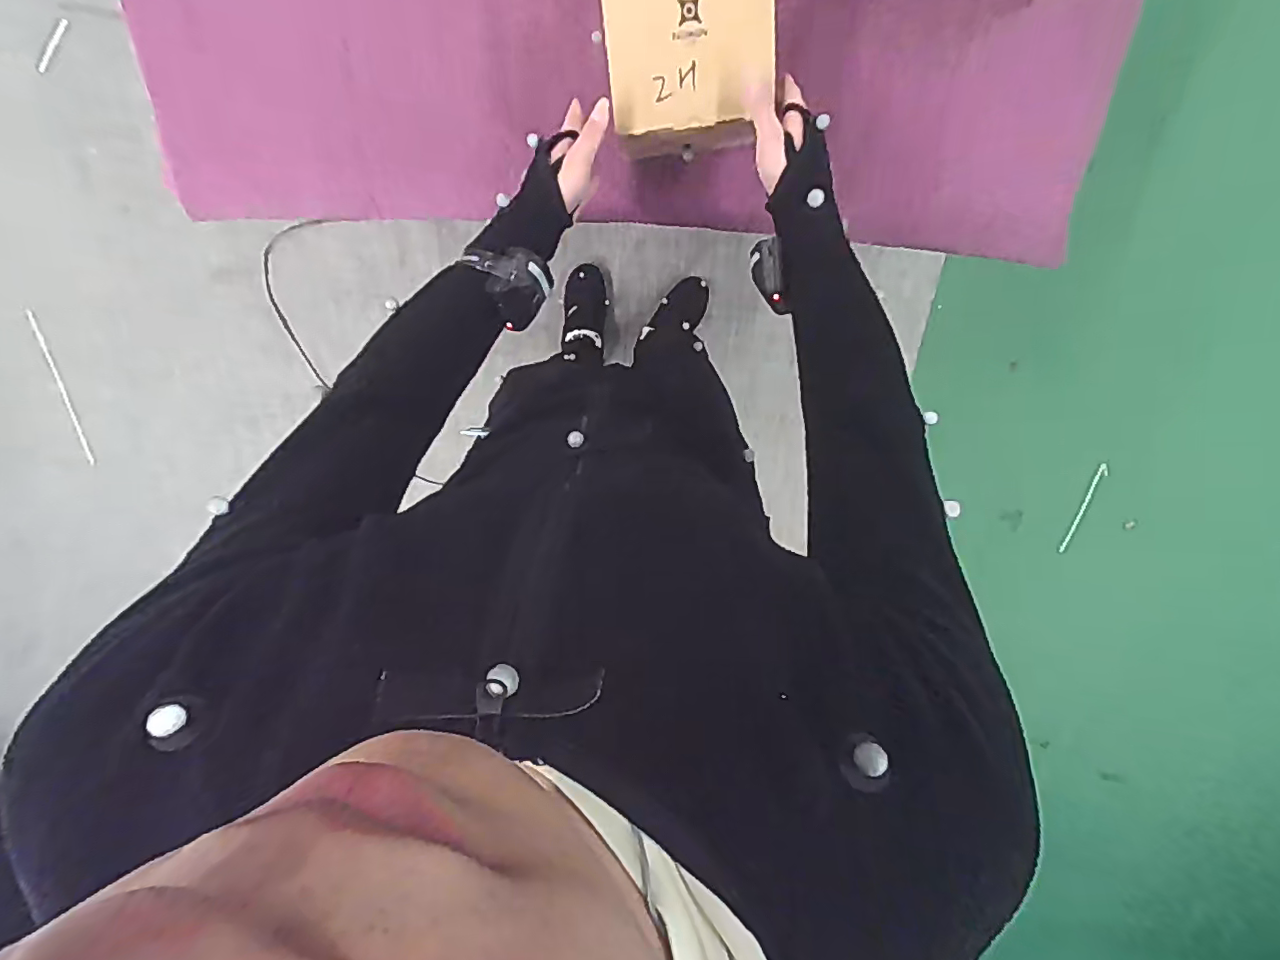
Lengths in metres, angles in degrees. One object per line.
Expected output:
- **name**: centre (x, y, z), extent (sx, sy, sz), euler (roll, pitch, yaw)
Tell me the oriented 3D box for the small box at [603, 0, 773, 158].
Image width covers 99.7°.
- **small box**: centre (0.048, -0.474, 0.594), extent (0.168, 0.176, 0.179), euler (-4, 114, 4)
